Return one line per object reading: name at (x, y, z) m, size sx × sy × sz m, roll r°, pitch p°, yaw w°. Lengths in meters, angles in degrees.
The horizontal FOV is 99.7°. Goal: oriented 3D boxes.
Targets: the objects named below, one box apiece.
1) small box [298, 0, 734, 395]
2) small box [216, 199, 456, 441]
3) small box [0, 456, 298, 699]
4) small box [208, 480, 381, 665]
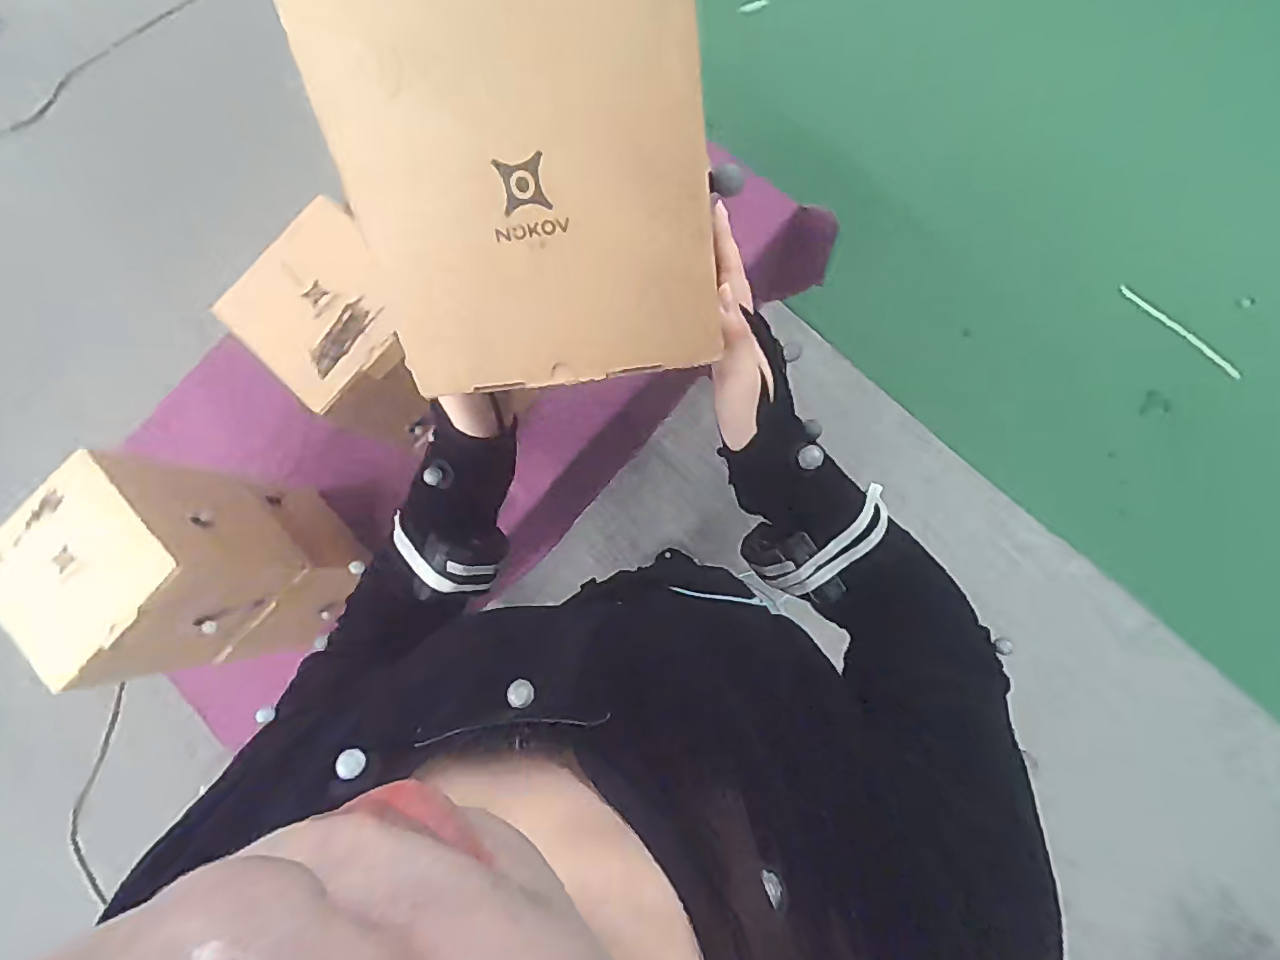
small box at (-0.038, -0.166, 0.310) m, size 0.168 × 0.176 × 0.179 m, roll -5°, pitch 120°, yaw 9°
small box at (-0.305, -0.162, 0.613) m, size 0.179 × 0.176 × 0.168 m, roll 41°, pitch 87°, yaw 12°
small box at (-0.532, 0.100, 0.595) m, size 0.179 × 0.176 × 0.168 m, roll 42°, pitch 87°, yaw 10°
small box at (-0.513, 0.127, 0.757) m, size 0.179 × 0.176 × 0.168 m, roll 42°, pitch 88°, yaw 10°
